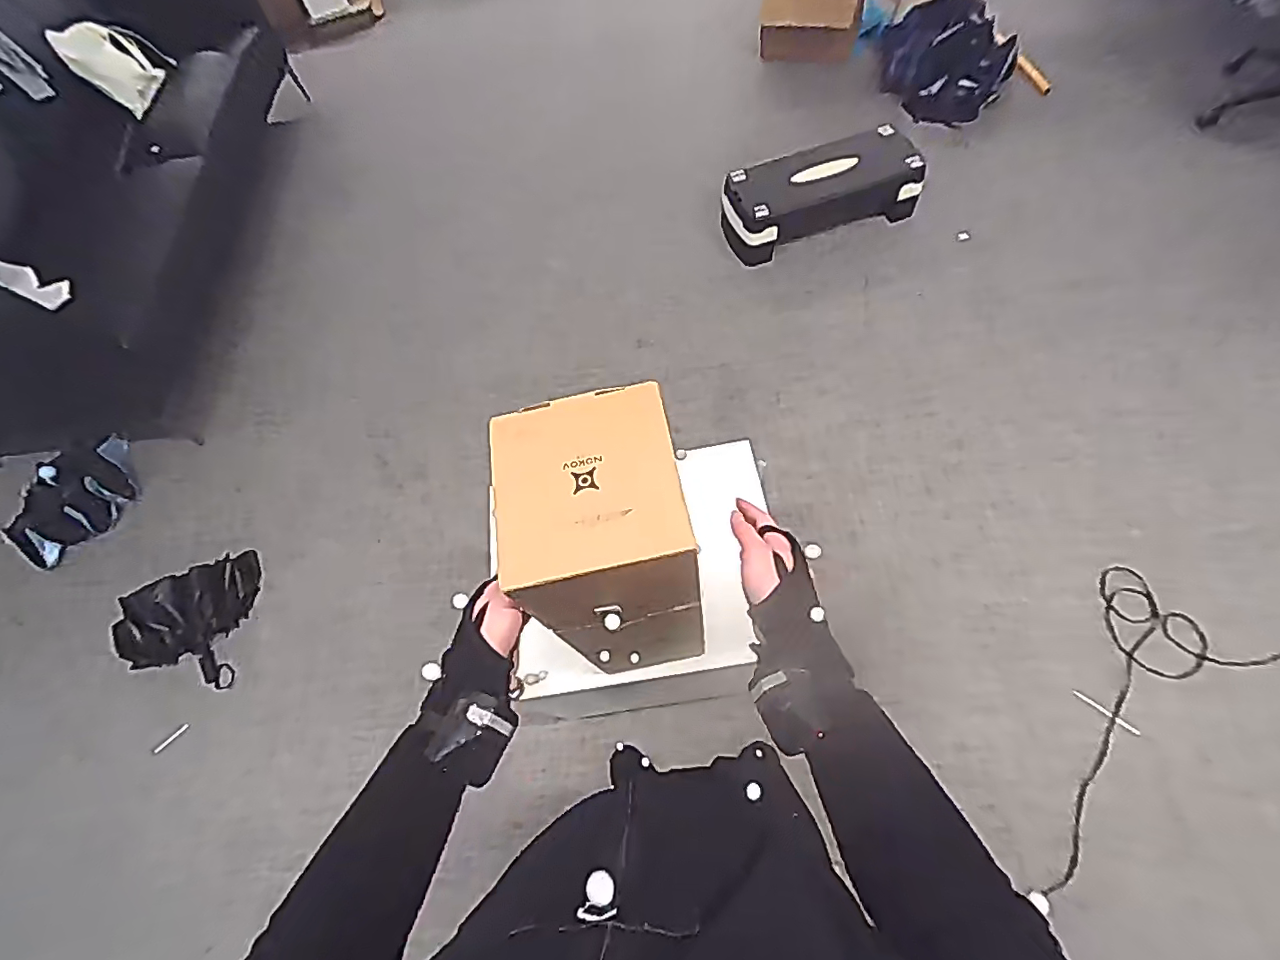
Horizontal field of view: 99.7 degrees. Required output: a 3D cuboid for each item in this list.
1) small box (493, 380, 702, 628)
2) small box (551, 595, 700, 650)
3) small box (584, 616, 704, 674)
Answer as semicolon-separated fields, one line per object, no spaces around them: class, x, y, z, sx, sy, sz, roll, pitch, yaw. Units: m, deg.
small box;-0.037;0.032;0.545;0.168;0.176;0.179;-14;62;1
small box;-0.020;0.108;0.689;0.168;0.176;0.179;-12;61;1
small box;-0.001;0.183;0.834;0.168;0.176;0.179;-13;61;1
